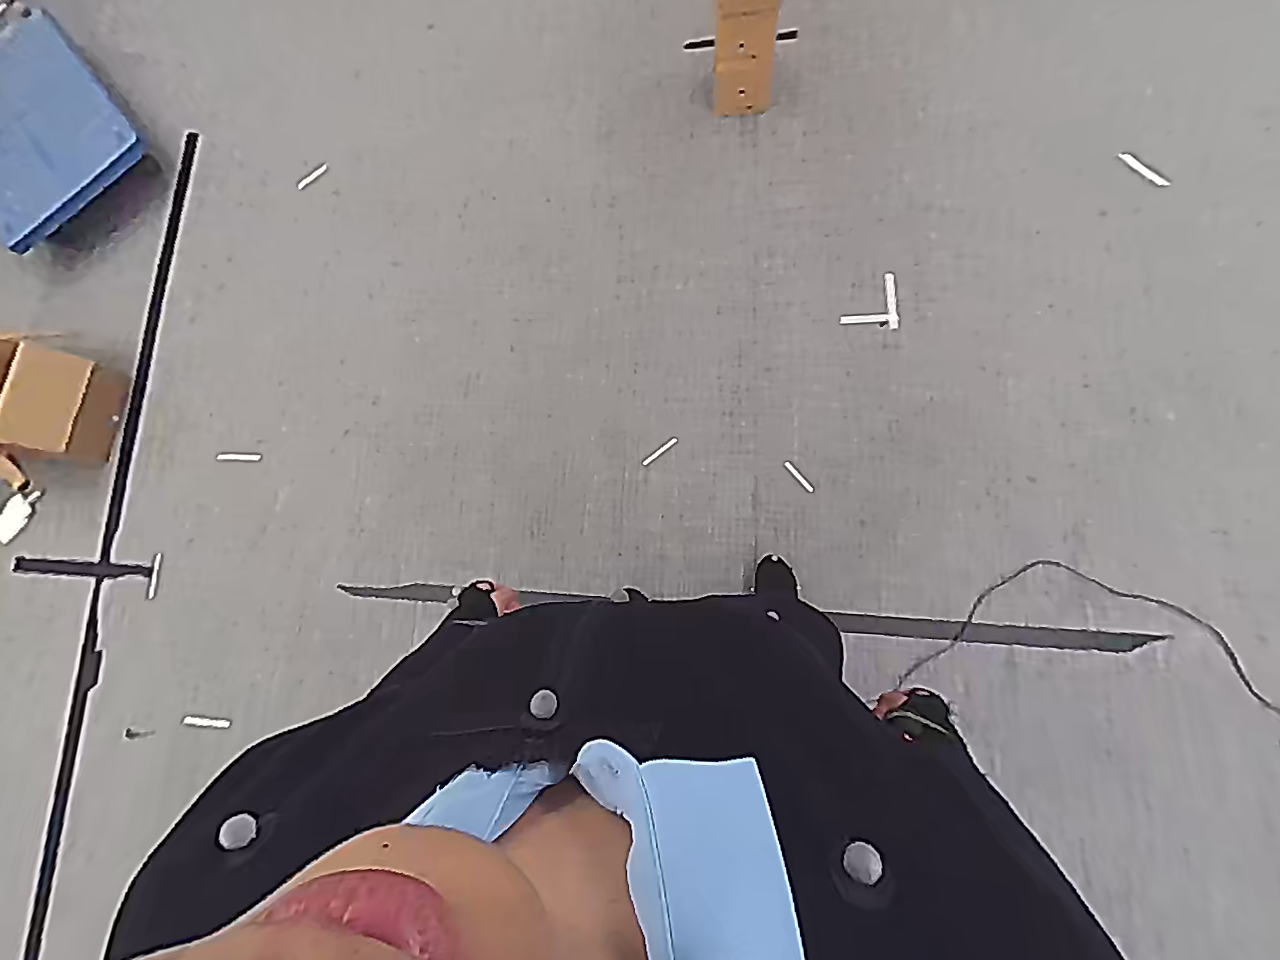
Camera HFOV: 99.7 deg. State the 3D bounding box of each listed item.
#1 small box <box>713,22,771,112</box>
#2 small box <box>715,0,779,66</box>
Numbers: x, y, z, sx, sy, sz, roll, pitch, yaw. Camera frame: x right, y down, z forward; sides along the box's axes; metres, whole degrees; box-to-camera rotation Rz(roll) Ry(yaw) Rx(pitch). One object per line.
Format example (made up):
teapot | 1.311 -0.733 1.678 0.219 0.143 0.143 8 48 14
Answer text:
small box | 0.310 -1.265 1.658 0.168 0.176 0.179 -1 80 7
small box | 0.293 -1.301 1.500 0.168 0.176 0.179 1 81 8
